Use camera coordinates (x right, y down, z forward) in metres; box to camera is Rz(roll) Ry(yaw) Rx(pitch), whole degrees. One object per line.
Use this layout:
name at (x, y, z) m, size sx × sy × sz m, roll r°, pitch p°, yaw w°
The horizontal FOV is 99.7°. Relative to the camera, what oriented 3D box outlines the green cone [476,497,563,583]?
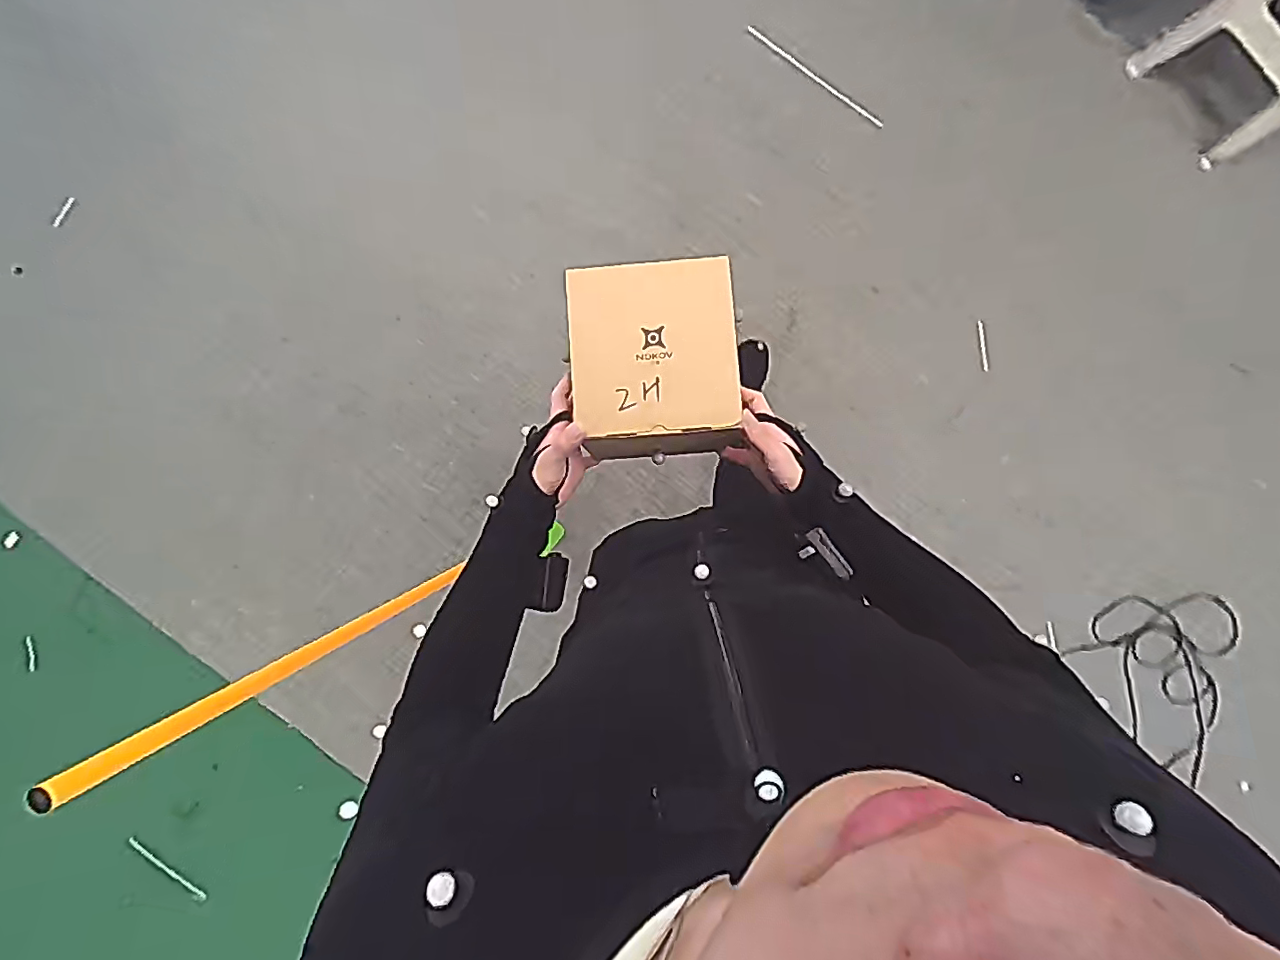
green cone at (-0.363, 0.191, 1.432) m, size 0.202 × 0.368 × 0.200 m, roll 39°, pitch 94°, yaw -1°
